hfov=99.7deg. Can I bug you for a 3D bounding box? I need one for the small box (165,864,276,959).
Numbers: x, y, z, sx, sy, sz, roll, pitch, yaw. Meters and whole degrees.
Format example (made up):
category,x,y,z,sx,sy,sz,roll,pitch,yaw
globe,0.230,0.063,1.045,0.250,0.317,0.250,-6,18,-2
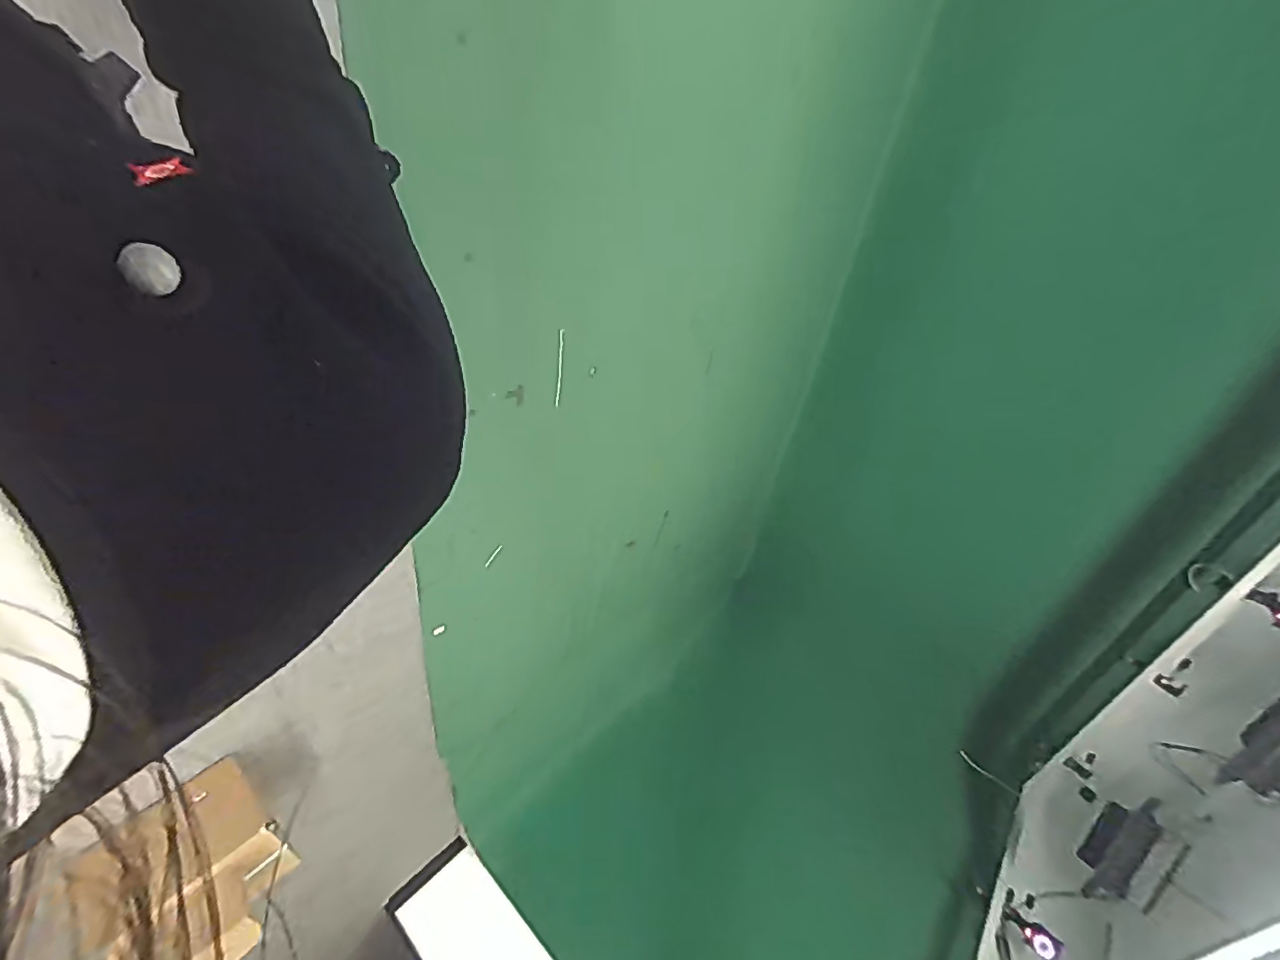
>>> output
category,x,y,z,sx,sy,sz,roll,pitch,yaw
small box,-1.164,1.224,1.502,0.179,0.176,0.168,-32,139,-37
